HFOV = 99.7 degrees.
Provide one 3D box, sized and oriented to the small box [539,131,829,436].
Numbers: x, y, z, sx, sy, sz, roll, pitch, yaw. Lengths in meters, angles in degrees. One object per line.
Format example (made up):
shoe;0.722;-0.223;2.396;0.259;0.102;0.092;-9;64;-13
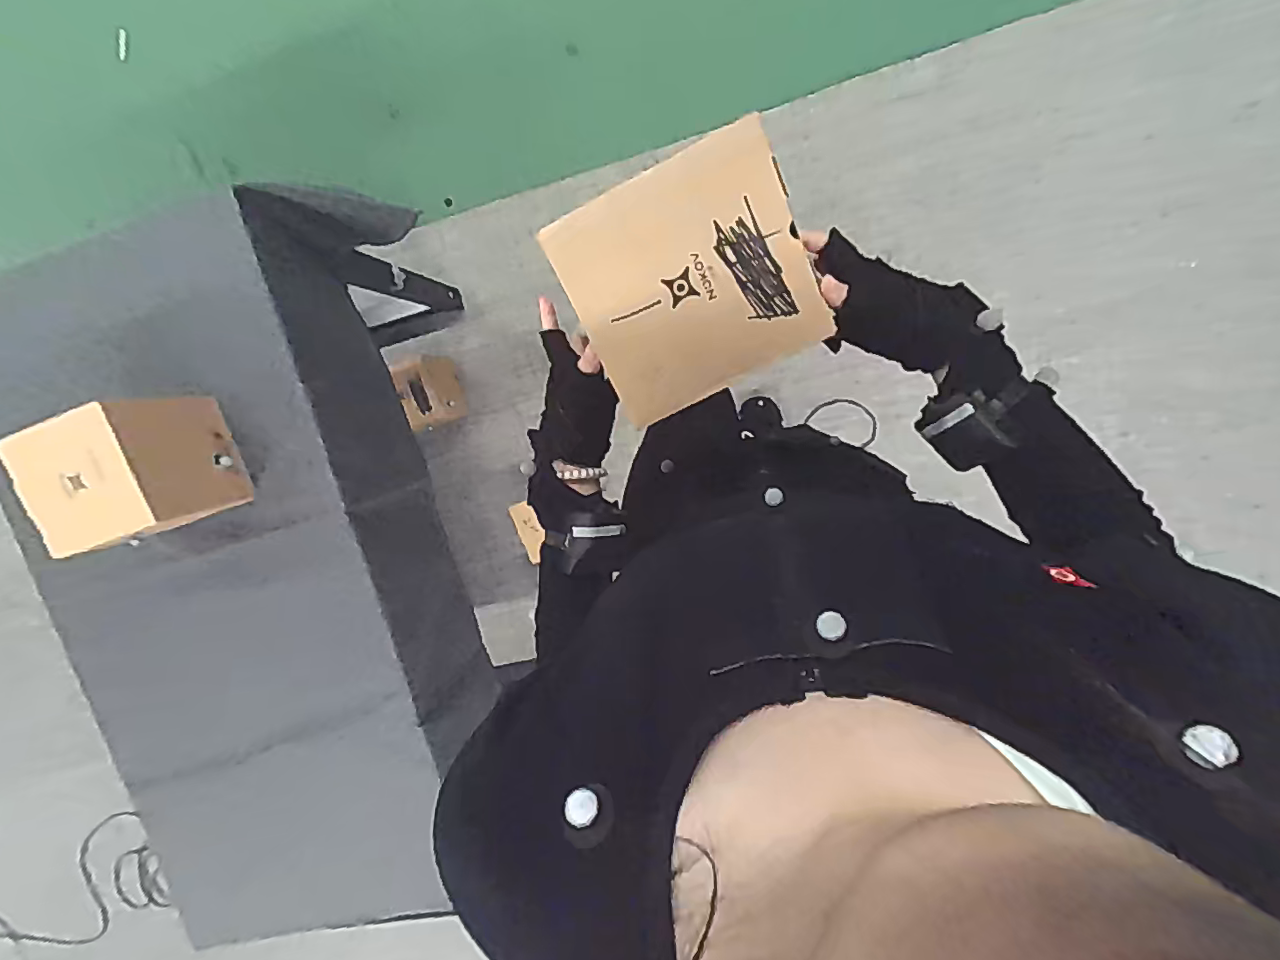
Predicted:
small box;0.033;-0.163;0.479;0.179;0.176;0.168;-25;106;6

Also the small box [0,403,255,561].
small box;-0.704;-0.005;0.763;0.179;0.176;0.168;-16;99;10
